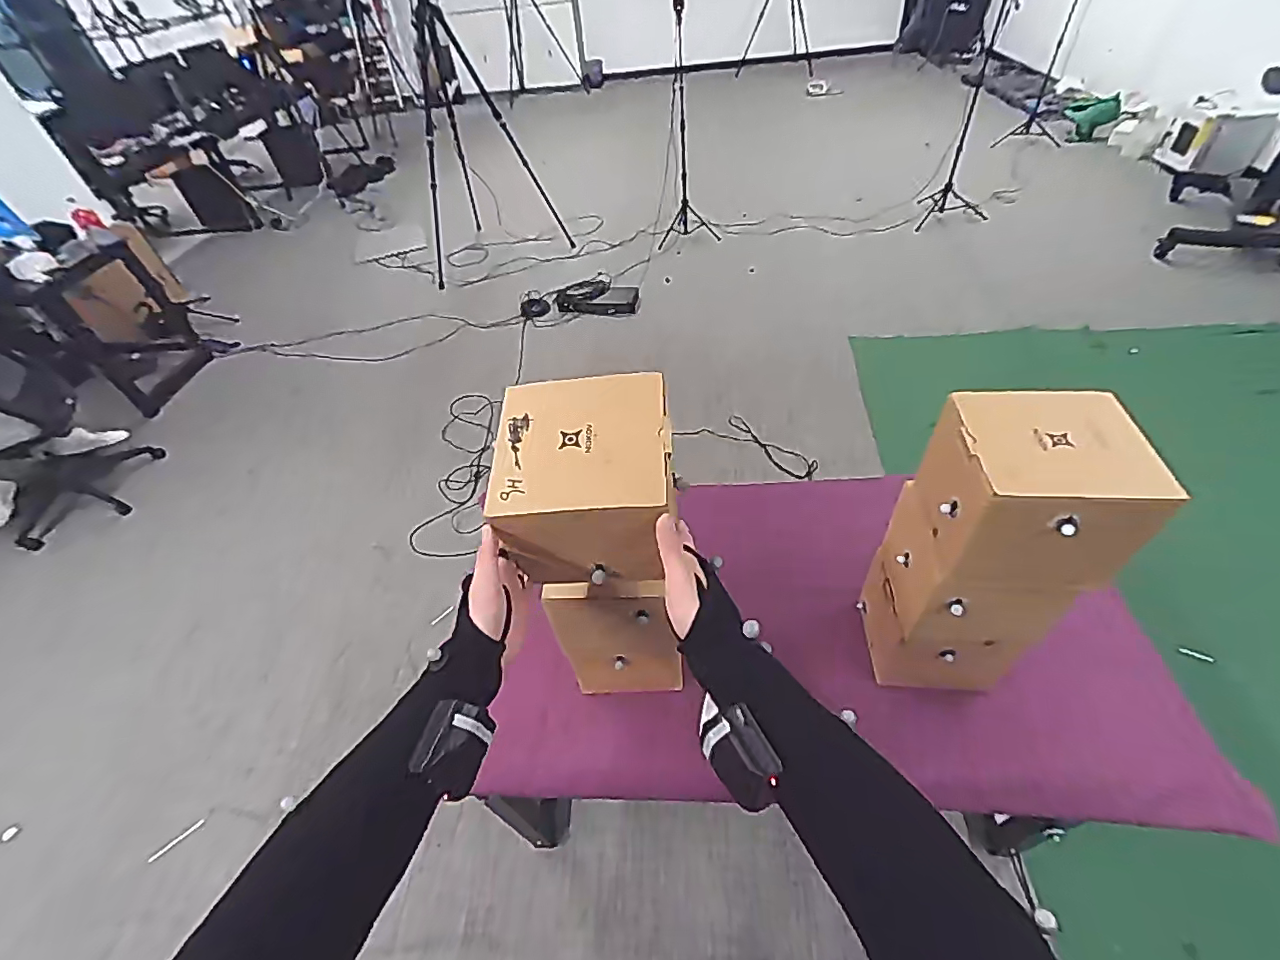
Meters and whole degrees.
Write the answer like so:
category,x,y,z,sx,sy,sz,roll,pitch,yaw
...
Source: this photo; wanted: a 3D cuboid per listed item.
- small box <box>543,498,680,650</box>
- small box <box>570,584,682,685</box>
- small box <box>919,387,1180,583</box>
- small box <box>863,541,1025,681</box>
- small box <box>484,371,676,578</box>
category,x,y,z,sx,sy,sz,roll,pitch,yaw
small box,-0.029,0.140,0.801,0.179,0.176,0.168,-2,47,5
small box,-0.017,0.241,0.932,0.179,0.176,0.168,-4,47,4
small box,0.451,0.008,0.640,0.179,0.176,0.168,2,48,9
small box,0.479,0.218,0.890,0.179,0.176,0.168,0,47,7
small box,-0.049,0.001,0.598,0.179,0.176,0.168,-3,57,5
